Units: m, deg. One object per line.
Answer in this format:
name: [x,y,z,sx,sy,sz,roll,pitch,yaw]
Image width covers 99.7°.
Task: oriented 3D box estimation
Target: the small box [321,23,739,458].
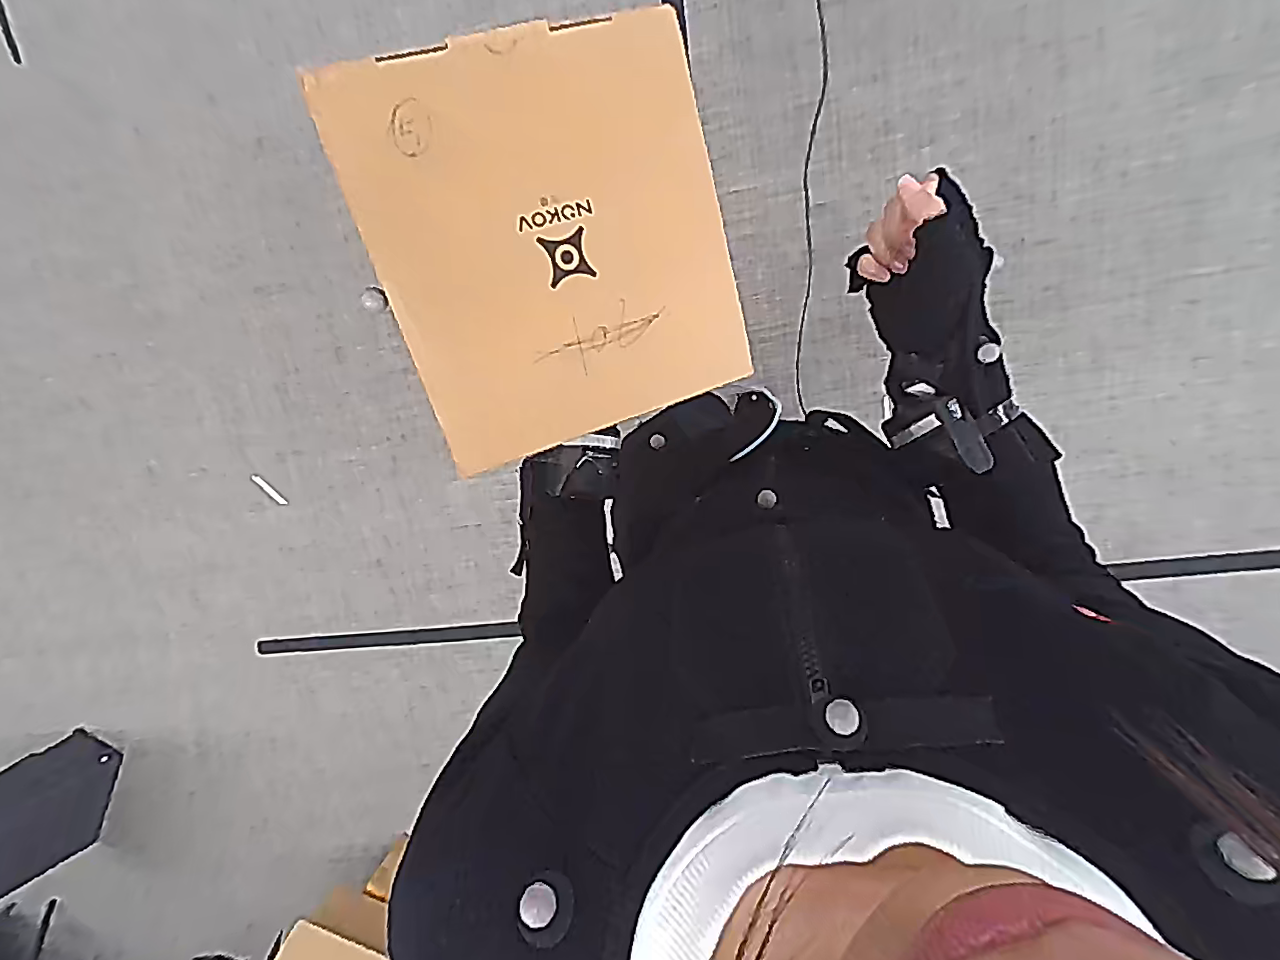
small box: [-0.064,-0.131,0.341,0.168,0.176,0.179,-21,108,-13]
